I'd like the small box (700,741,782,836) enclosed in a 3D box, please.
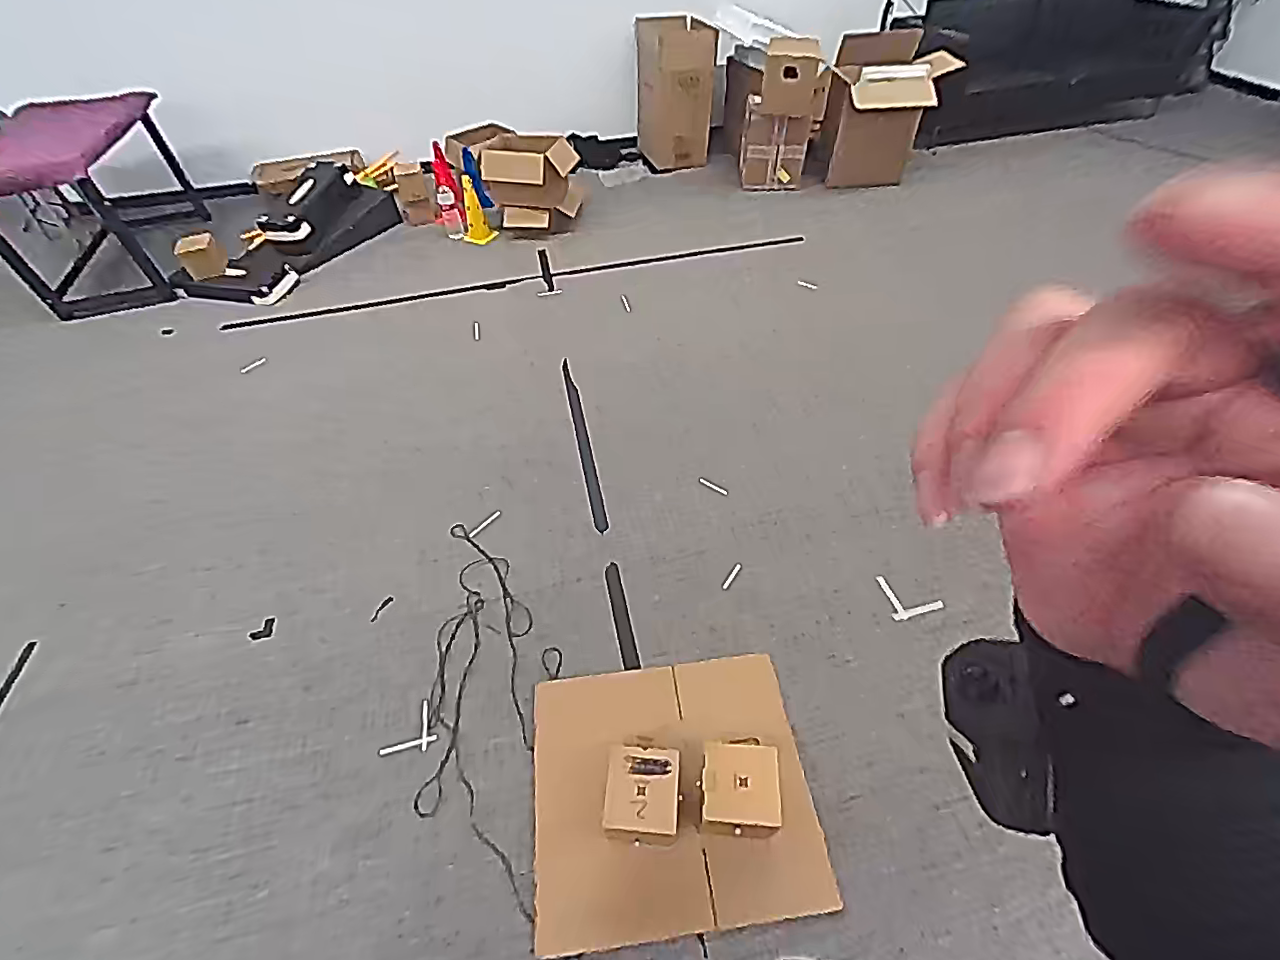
[{"bbox_3d":[0.239,0.755,1.318,0.179,0.176,0.168,2,49,5],"label":"small box"}]
